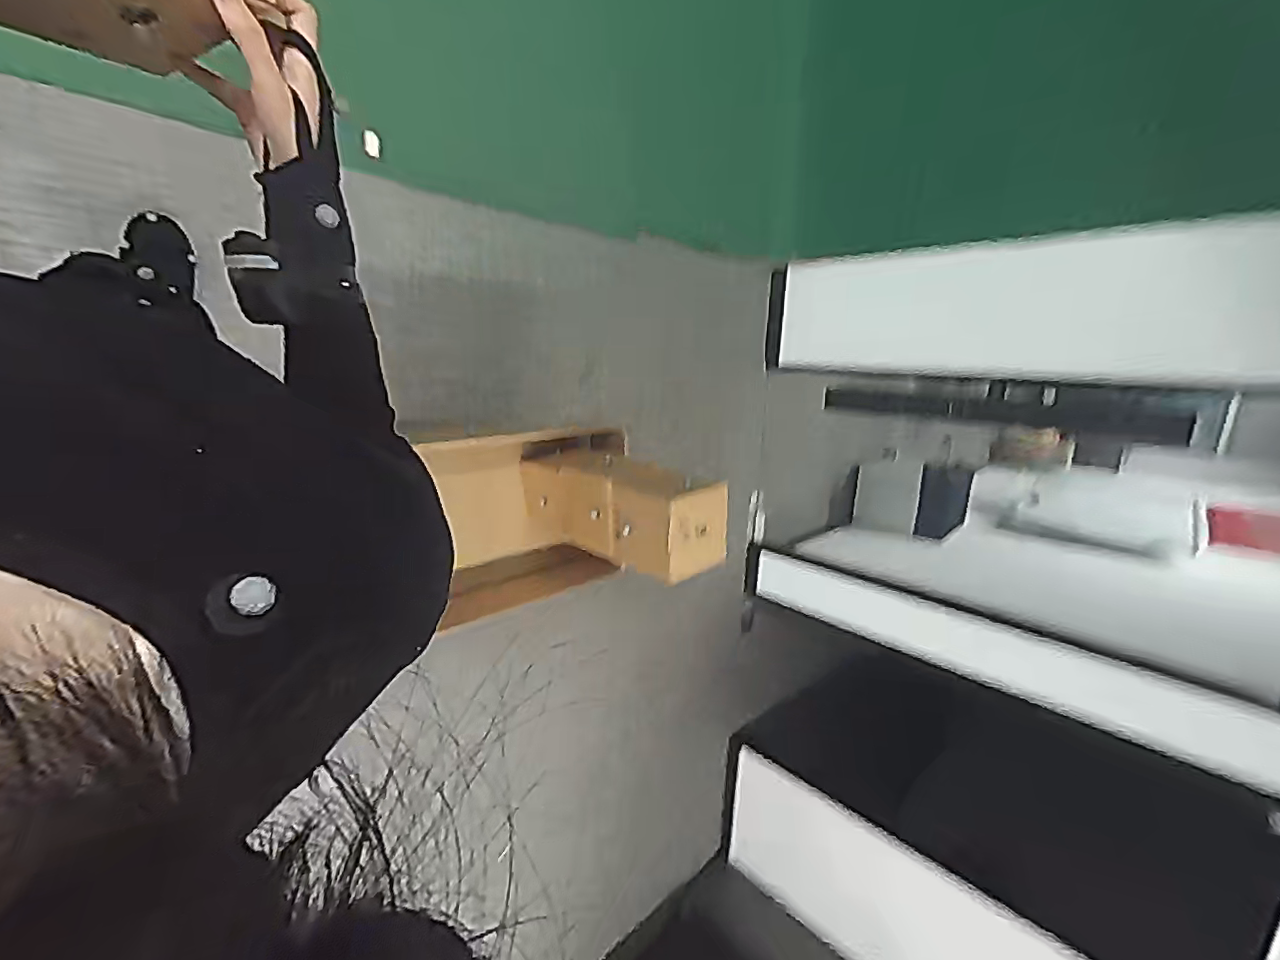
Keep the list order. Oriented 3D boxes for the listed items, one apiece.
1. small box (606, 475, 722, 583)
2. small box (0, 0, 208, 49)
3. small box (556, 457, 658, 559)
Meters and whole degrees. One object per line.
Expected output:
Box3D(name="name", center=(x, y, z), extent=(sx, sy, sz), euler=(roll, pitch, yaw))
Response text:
Box3D(name="small box", center=(0.049, 0.090, 1.118), extent=(0.179, 0.176, 0.168), euler=(-13, 108, -42))
Box3D(name="small box", center=(-0.349, -0.377, 0.288), extent=(0.168, 0.176, 0.179), euler=(-27, 118, -57))
Box3D(name="small box", center=(-0.074, 0.056, 1.223), extent=(0.168, 0.176, 0.179), euler=(-16, 111, -42))
